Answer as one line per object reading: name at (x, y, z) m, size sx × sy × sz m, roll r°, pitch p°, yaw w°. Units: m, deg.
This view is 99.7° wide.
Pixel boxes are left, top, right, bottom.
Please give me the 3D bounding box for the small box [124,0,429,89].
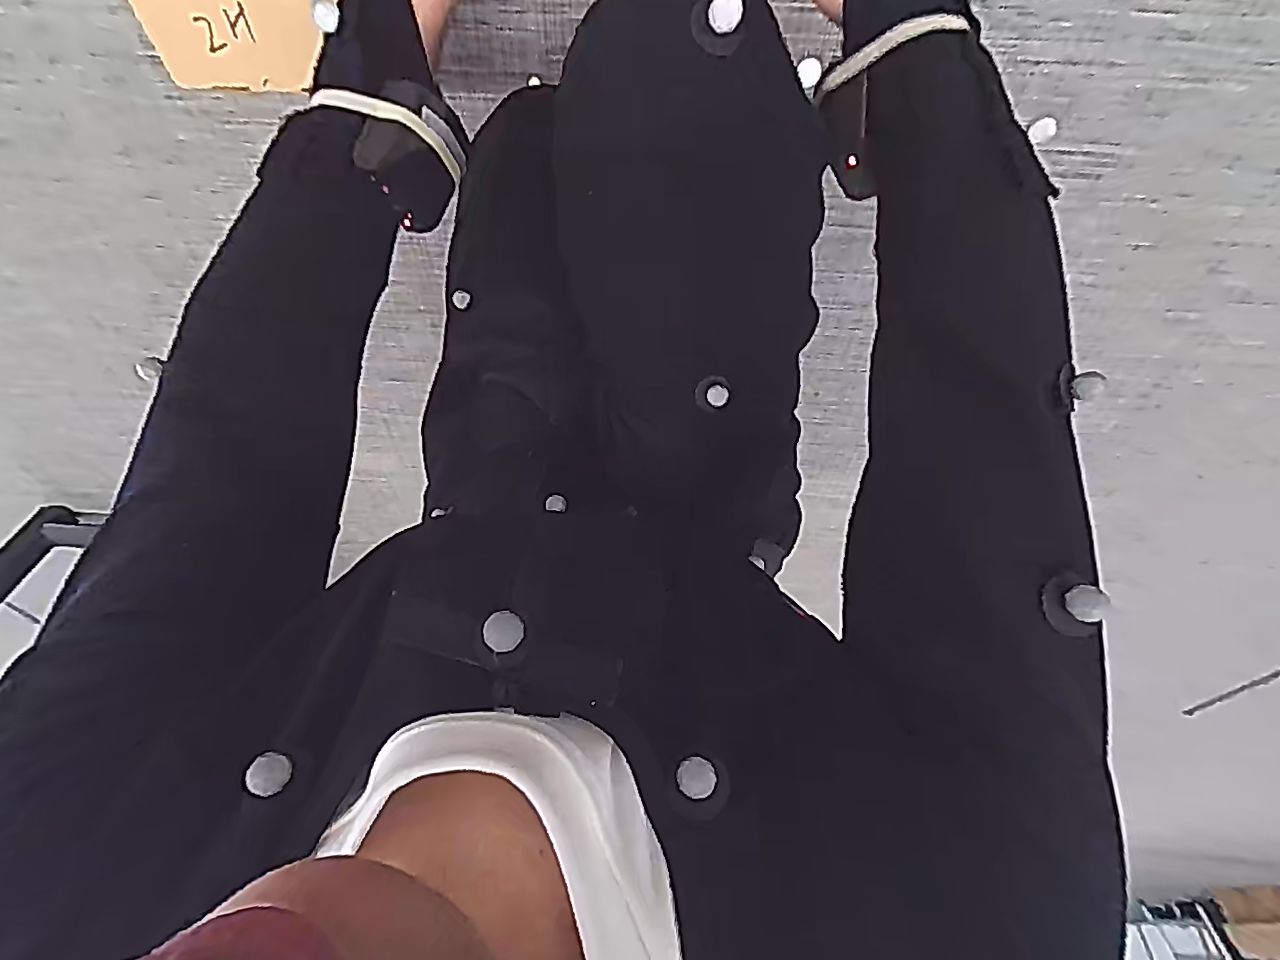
small box at (-0.288, -0.431, 0.417) m, size 0.168 × 0.176 × 0.179 m, roll 4°, pitch 140°, yaw 3°
